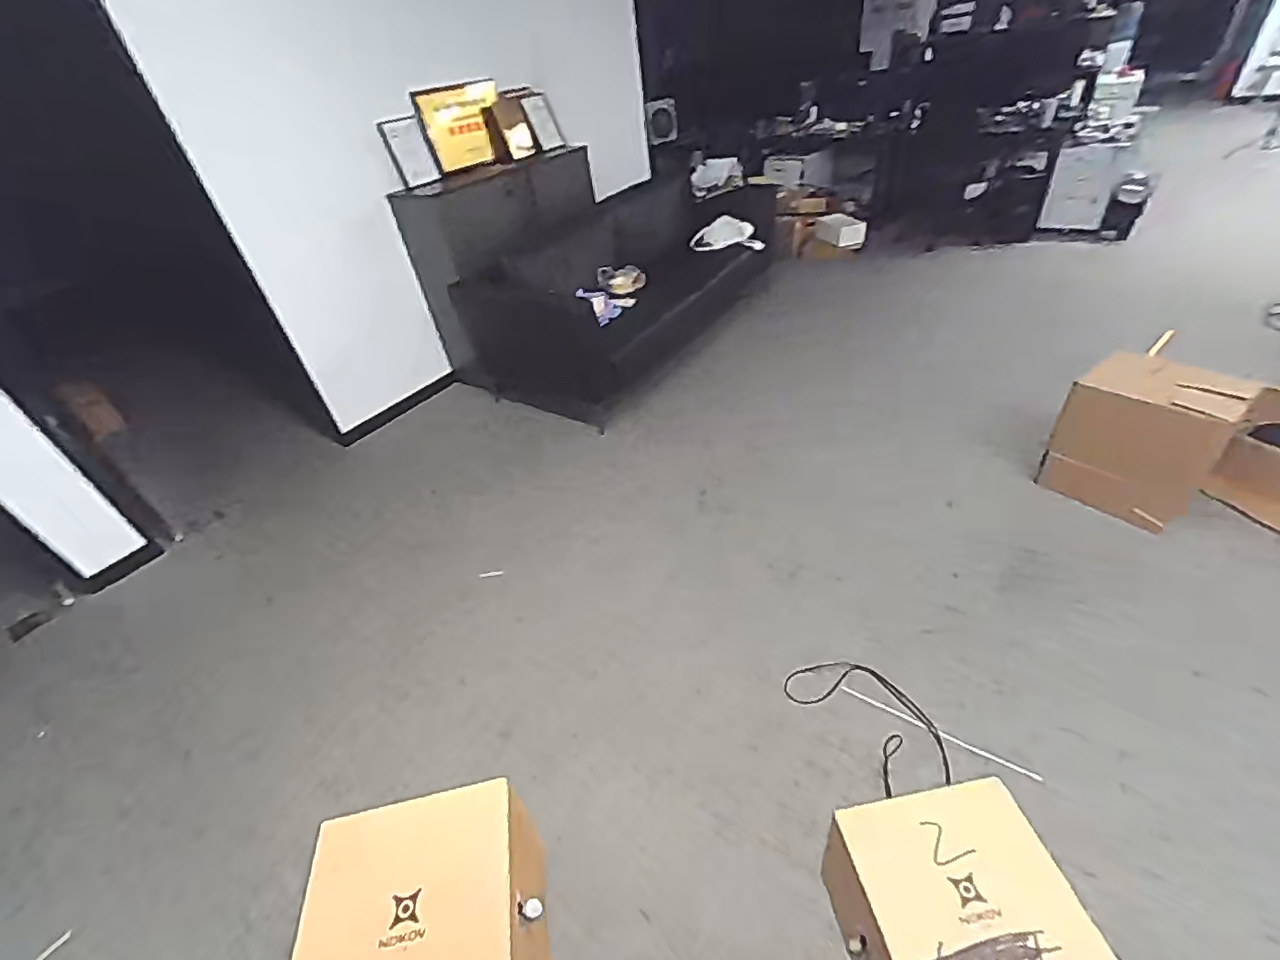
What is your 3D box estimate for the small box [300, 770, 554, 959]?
[{"bbox_3d":[-0.173,0.395,0.480,0.168,0.176,0.179,-10,41,-5],"label":"small box"}]
